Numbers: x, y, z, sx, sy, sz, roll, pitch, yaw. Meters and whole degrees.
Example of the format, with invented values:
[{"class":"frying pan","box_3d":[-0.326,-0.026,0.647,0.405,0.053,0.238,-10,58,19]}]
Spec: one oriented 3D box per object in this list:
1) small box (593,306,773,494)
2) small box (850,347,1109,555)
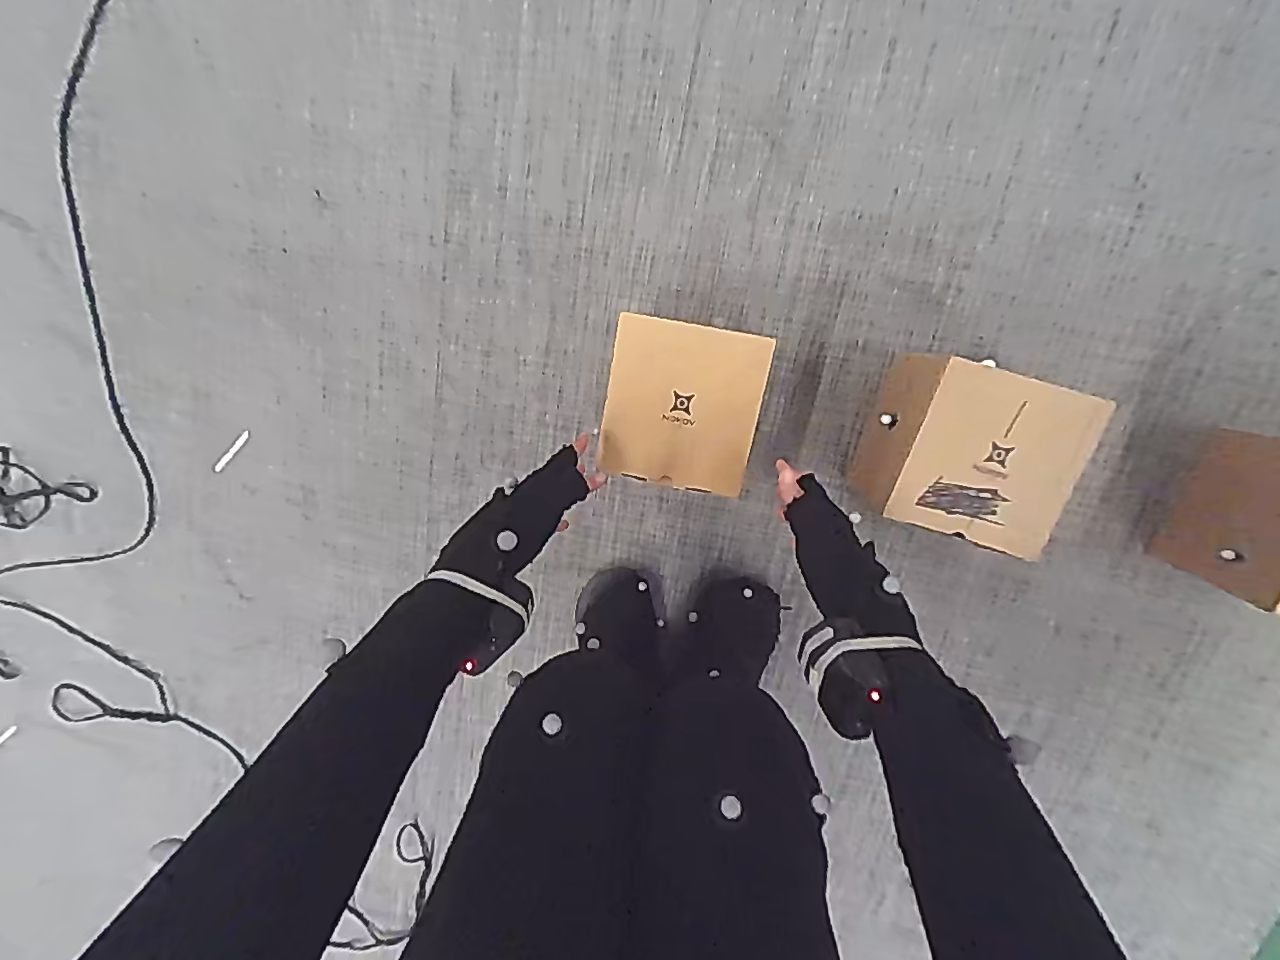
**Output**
[{"class":"small box","box_3d":[0.051,-0.101,0.649,0.168,0.176,0.179,11,106,6]},{"class":"small box","box_3d":[0.359,-0.043,0.617,0.168,0.176,0.179,17,105,3]}]
